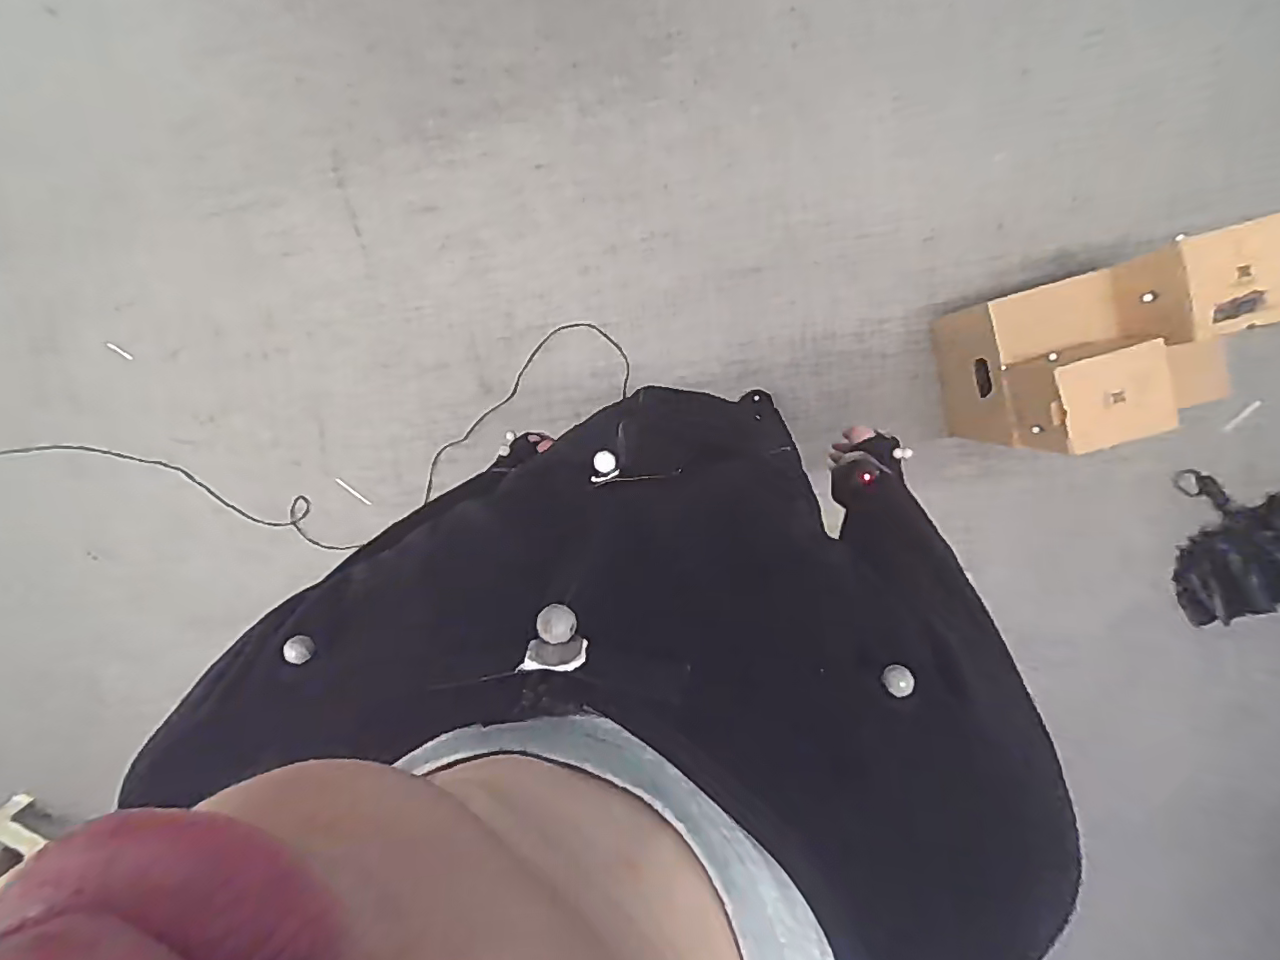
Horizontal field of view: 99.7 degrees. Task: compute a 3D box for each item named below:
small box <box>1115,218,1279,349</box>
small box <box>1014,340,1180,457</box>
[{"bbox_3d":[1.010,-0.337,0.970,0.168,0.176,0.179,-13,94,10],"label":"small box"},{"bbox_3d":[0.845,-0.155,1.023,0.179,0.176,0.168,-17,99,9],"label":"small box"}]
